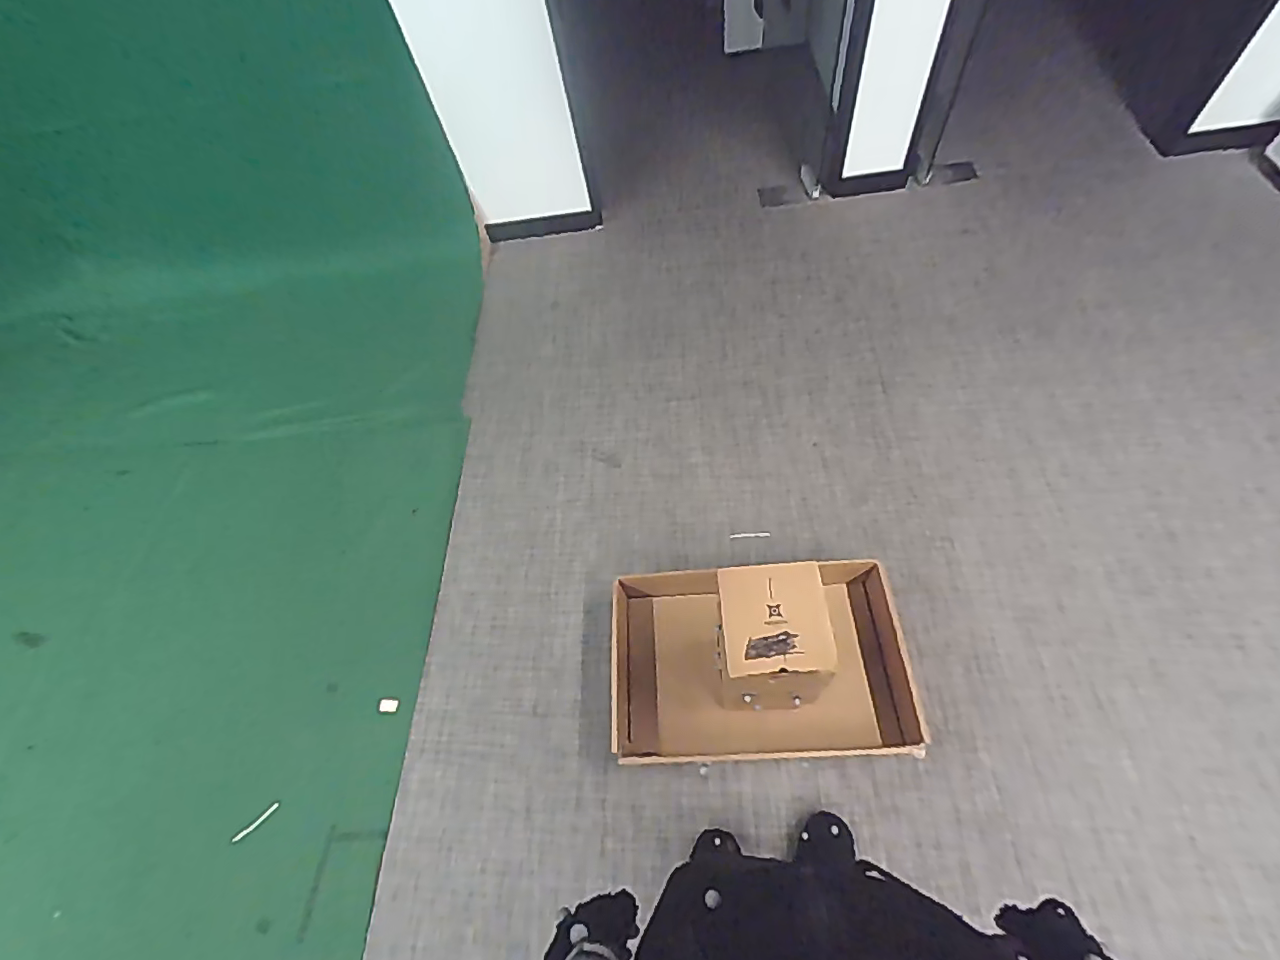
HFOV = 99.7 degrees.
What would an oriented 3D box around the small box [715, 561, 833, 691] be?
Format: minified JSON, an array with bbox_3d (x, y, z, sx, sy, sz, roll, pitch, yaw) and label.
[{"bbox_3d":[0.218,0.255,0.919,0.168,0.176,0.179,-5,58,6],"label":"small box"}]

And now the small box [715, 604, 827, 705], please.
[{"bbox_3d":[0.242,0.331,1.045,0.179,0.176,0.168,-8,59,4],"label":"small box"}]

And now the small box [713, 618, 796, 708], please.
[{"bbox_3d":[0.261,0.407,1.209,0.179,0.176,0.168,-6,58,5],"label":"small box"}]
